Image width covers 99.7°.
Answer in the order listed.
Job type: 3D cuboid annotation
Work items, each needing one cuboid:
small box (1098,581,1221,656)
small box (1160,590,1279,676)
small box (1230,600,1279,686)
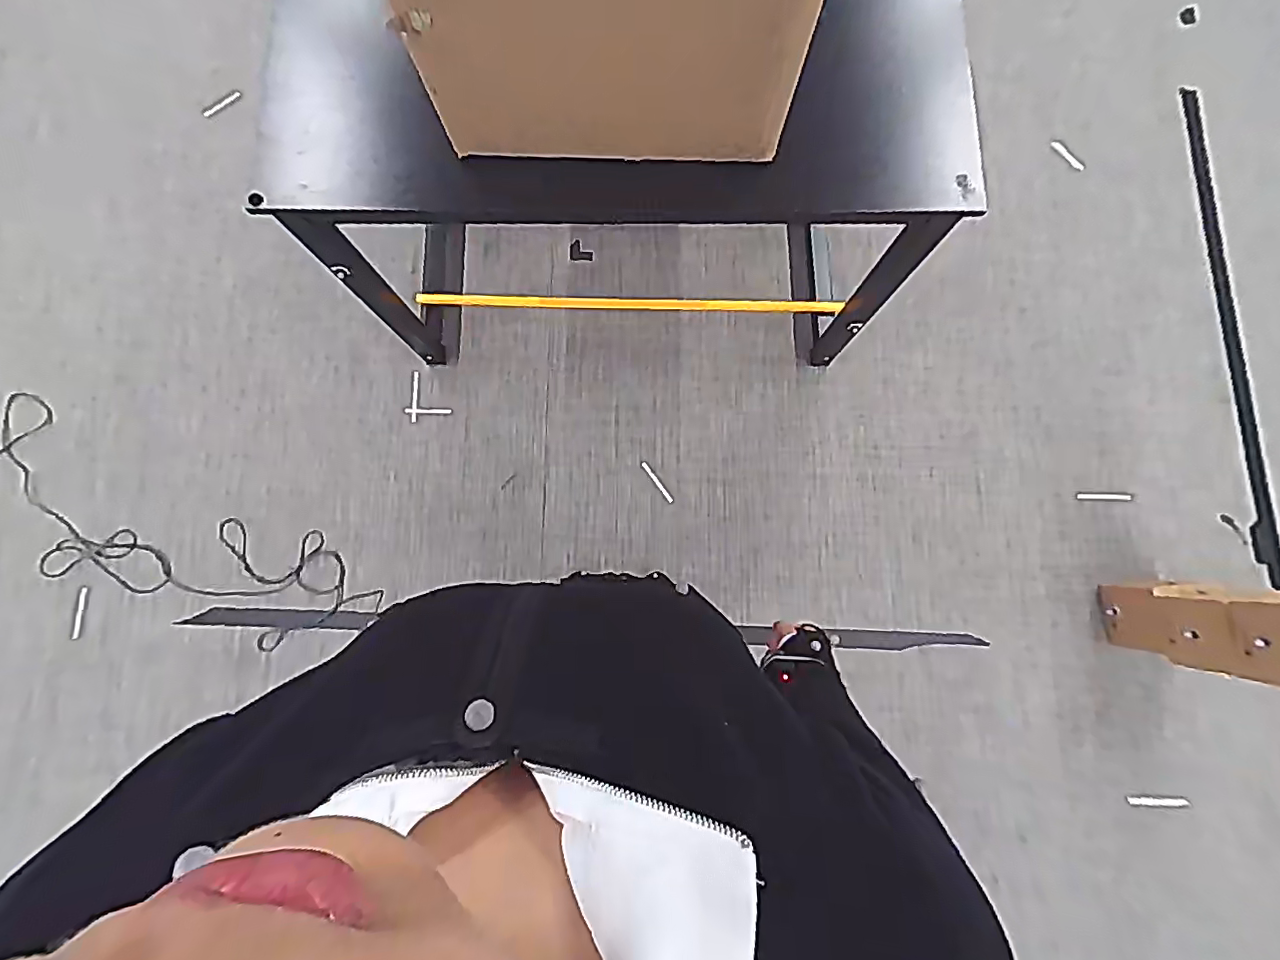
[{"bbox_3d":[1.354,0.352,1.401,0.179,0.176,0.168,-5,80,1],"label":"small box"},{"bbox_3d":[1.352,0.344,1.236,0.179,0.176,0.168,-6,80,0],"label":"small box"},{"bbox_3d":[1.355,0.326,1.072,0.179,0.176,0.168,-1,80,0],"label":"small box"}]
